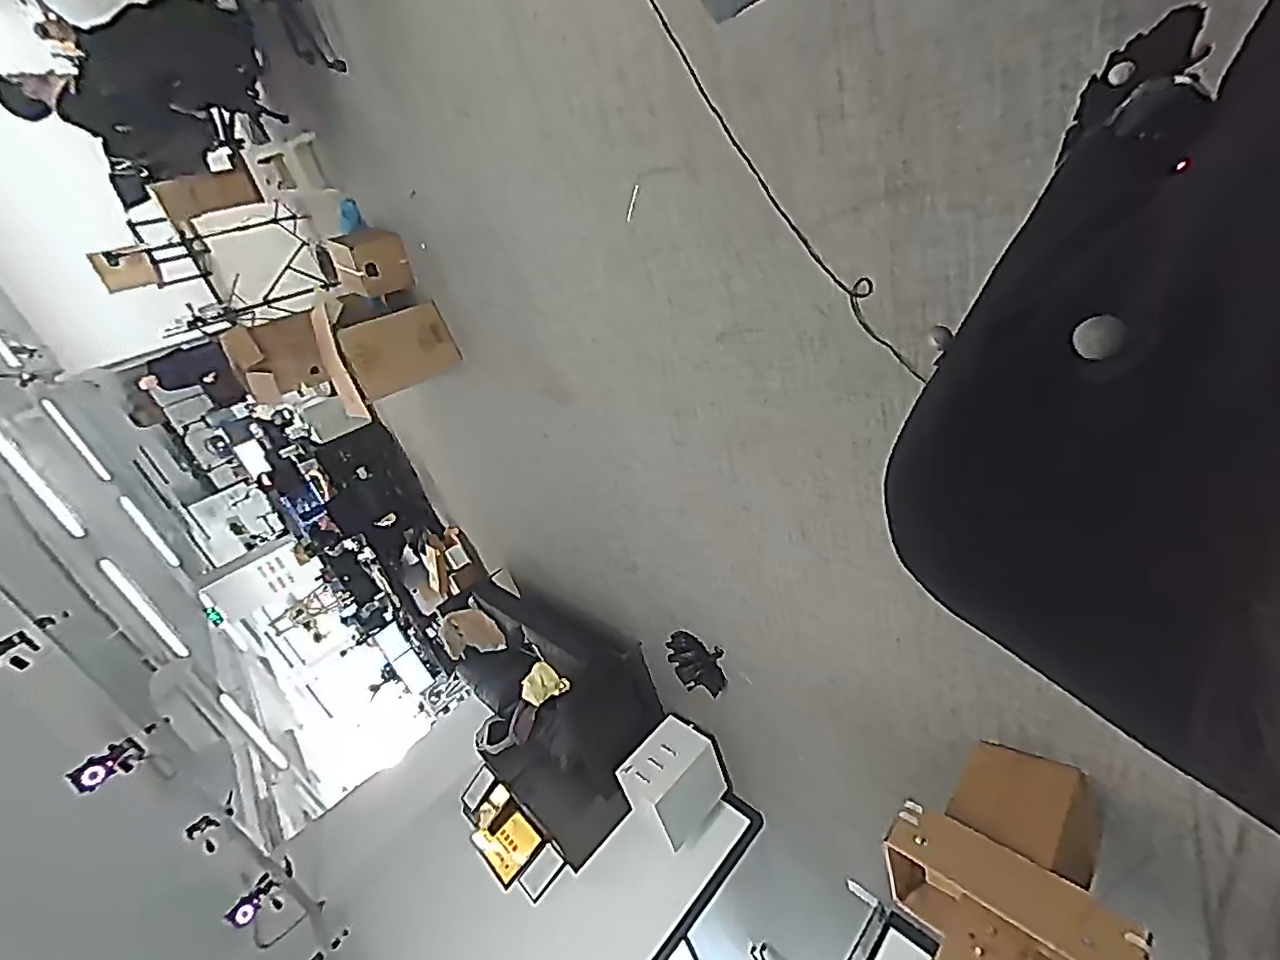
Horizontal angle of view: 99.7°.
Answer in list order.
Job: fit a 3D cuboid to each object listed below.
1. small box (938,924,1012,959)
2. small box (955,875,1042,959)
[{"bbox_3d":[0.952,1.417,1.515,0.168,0.176,0.179,4,122,51],"label":"small box"},{"bbox_3d":[1.065,1.334,1.600,0.168,0.176,0.179,3,122,51],"label":"small box"}]
